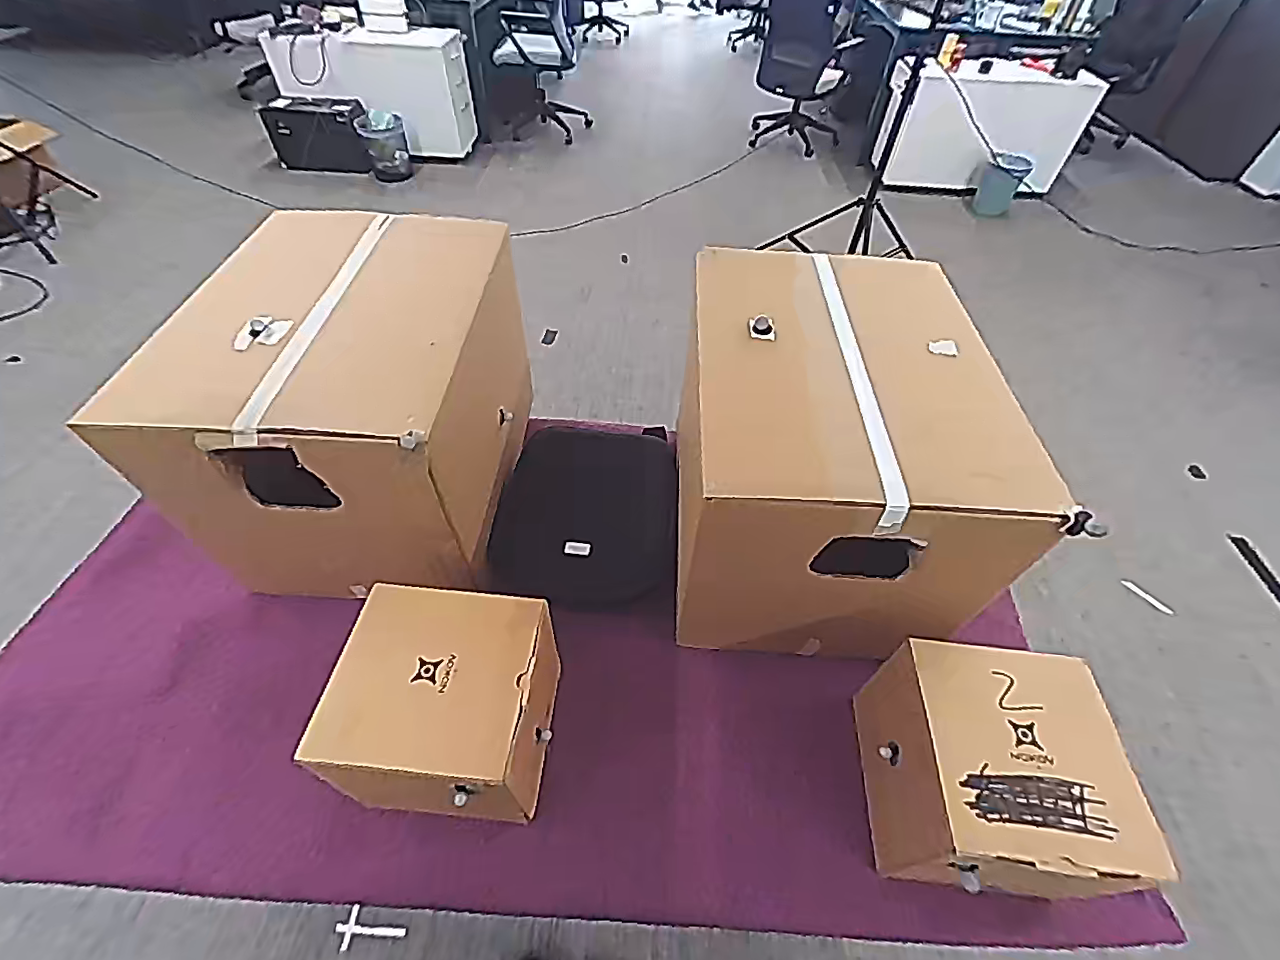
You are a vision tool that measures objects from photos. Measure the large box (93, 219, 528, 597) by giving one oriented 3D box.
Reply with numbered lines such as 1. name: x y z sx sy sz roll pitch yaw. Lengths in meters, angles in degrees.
1. large box: -0.339 -0.092 0.718 0.320 0.320 0.408 2 52 -1

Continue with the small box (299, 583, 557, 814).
1. small box: -0.189 0.224 0.548 0.179 0.176 0.168 4 48 1
